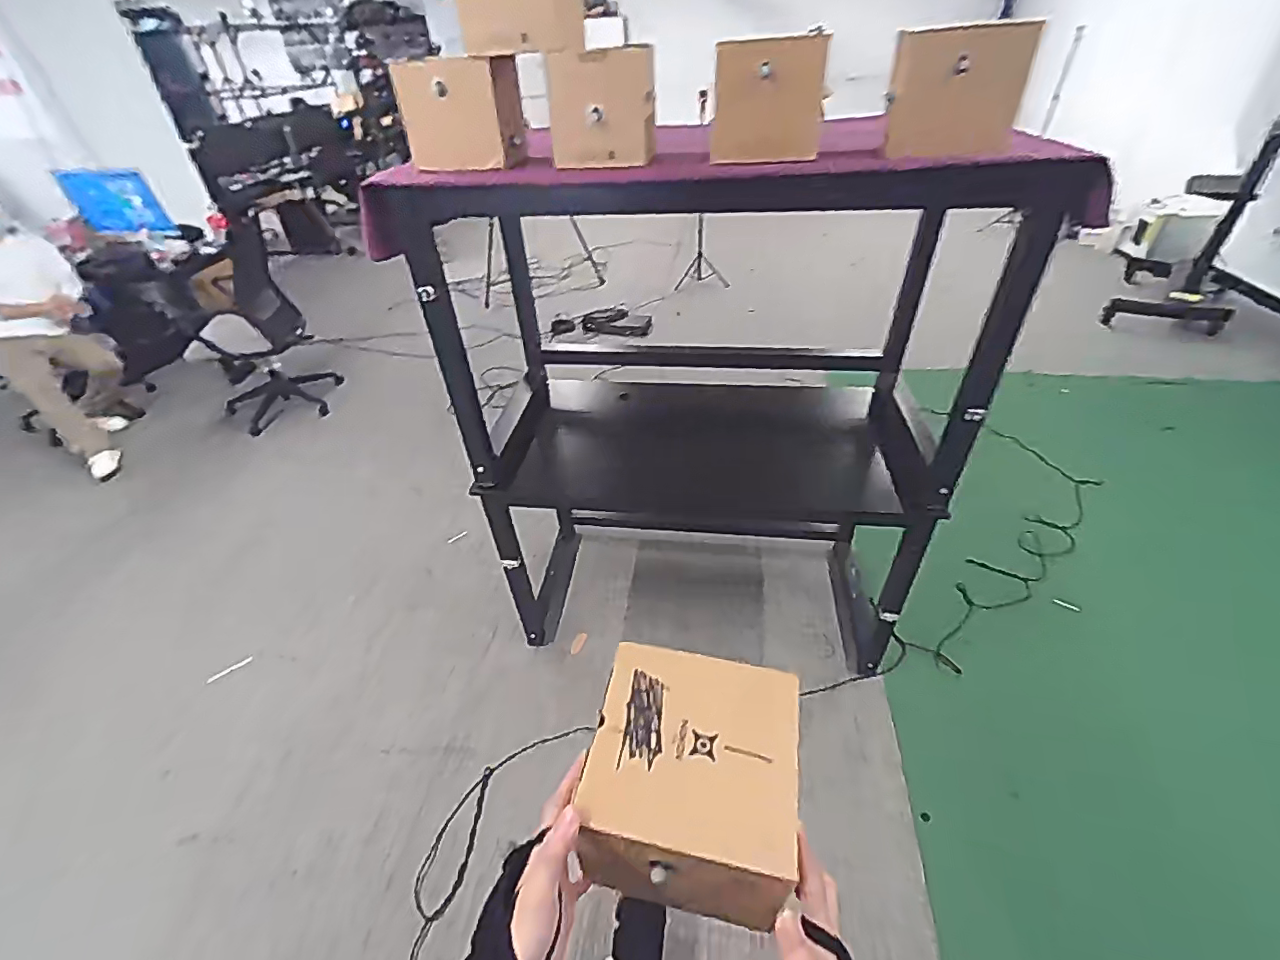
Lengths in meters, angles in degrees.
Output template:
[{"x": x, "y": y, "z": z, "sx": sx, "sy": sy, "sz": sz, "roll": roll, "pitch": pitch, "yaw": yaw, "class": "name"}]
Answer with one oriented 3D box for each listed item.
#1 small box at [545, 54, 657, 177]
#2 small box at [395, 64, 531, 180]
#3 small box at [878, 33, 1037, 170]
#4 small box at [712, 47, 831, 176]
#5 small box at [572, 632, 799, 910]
[{"x": -0.060, "y": -0.656, "z": 0.978, "sx": 0.168, "sy": 0.176, "sz": 0.179, "roll": 3, "pitch": 38, "yaw": 7, "class": "small box"}, {"x": -0.318, "y": -0.670, "z": 1.013, "sx": 0.179, "sy": 0.176, "sz": 0.168, "roll": 3, "pitch": 39, "yaw": 6, "class": "small box"}, {"x": 0.503, "y": -0.622, "z": 0.893, "sx": 0.179, "sy": 0.176, "sz": 0.168, "roll": 5, "pitch": 40, "yaw": 11, "class": "small box"}, {"x": 0.220, "y": -0.640, "z": 0.940, "sx": 0.179, "sy": 0.176, "sz": 0.168, "roll": 2, "pitch": 38, "yaw": 9, "class": "small box"}, {"x": 0.050, "y": 0.275, "z": 0.516, "sx": 0.179, "sy": 0.176, "sz": 0.168, "roll": 8, "pitch": 40, "yaw": 10, "class": "small box"}]
